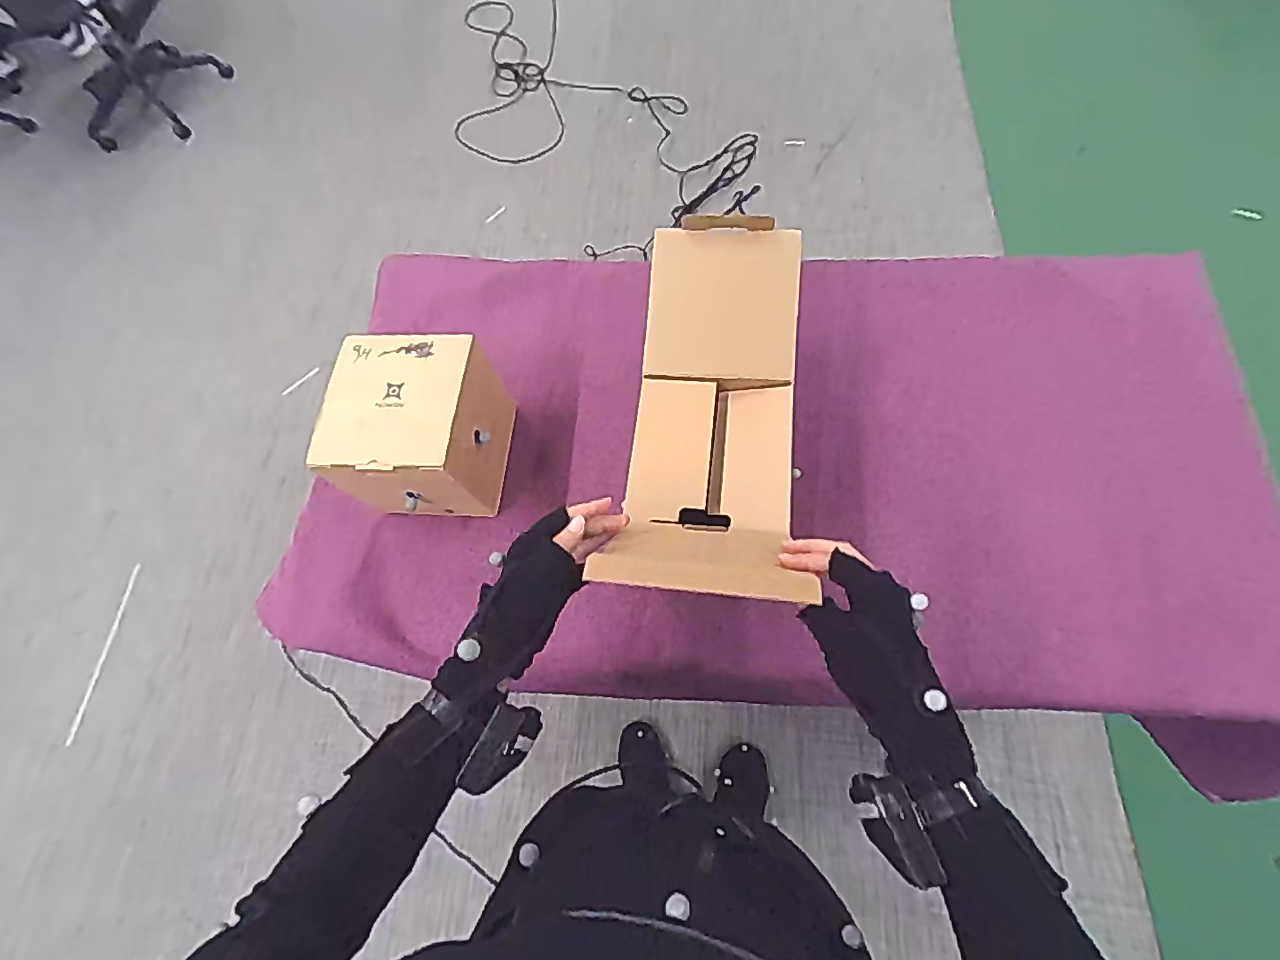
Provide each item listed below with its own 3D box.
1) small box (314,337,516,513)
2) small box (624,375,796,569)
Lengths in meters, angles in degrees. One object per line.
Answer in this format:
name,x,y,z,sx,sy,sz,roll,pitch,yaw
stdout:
small box,-0.270,-0.062,0.694,0.168,0.176,0.179,1,70,7
small box,0.084,-0.001,0.629,0.168,0.176,0.179,4,68,8
